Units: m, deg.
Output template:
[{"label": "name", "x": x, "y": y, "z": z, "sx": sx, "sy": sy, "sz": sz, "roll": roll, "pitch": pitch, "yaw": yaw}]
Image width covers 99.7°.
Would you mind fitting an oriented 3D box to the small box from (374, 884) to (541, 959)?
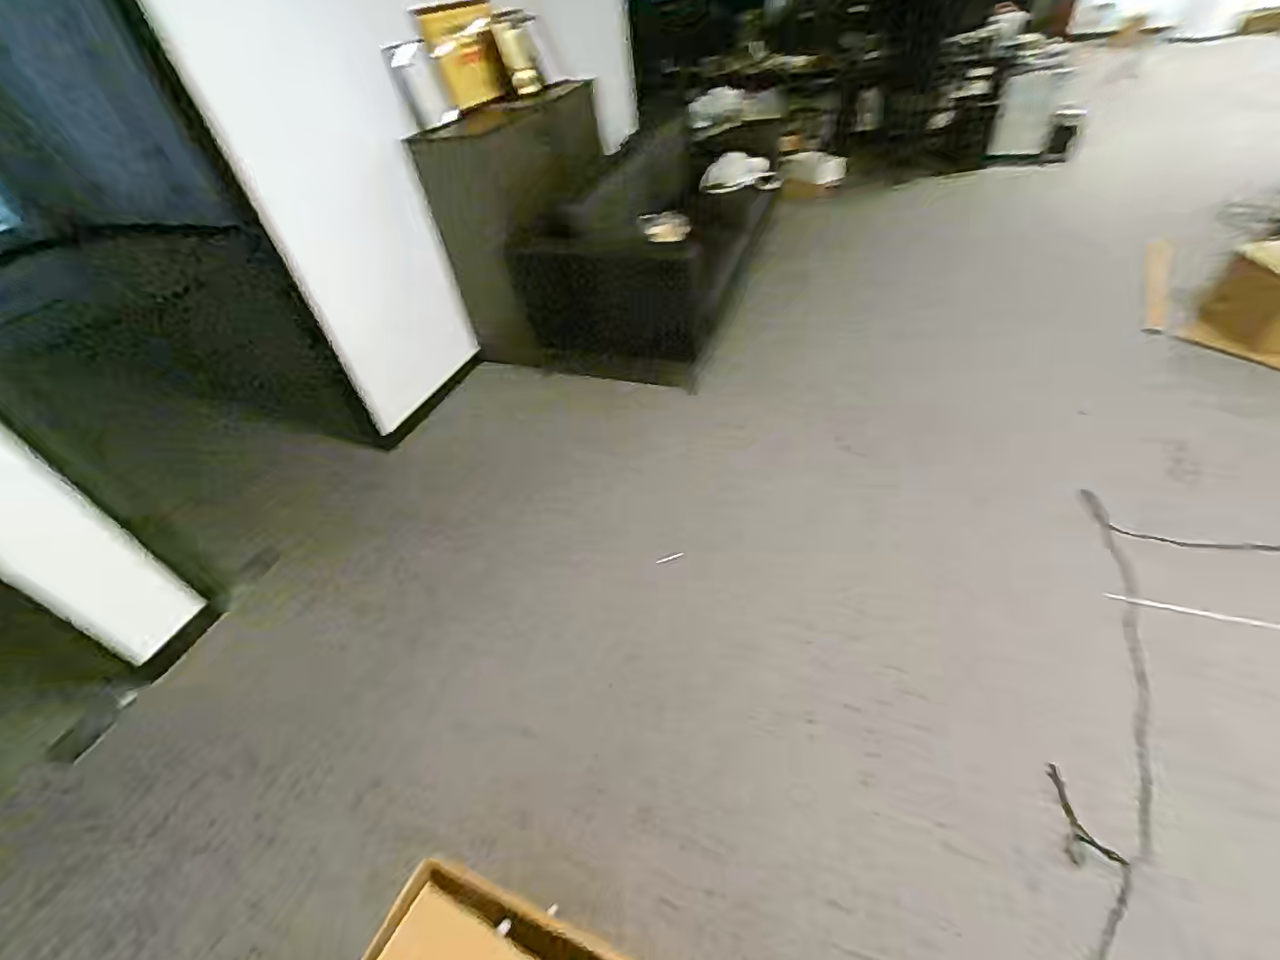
[{"label": "small box", "x": -0.195, "y": 0.583, "z": 0.578, "sx": 0.179, "sy": 0.176, "sz": 0.168, "roll": 15, "pitch": 47, "yaw": 25}]
